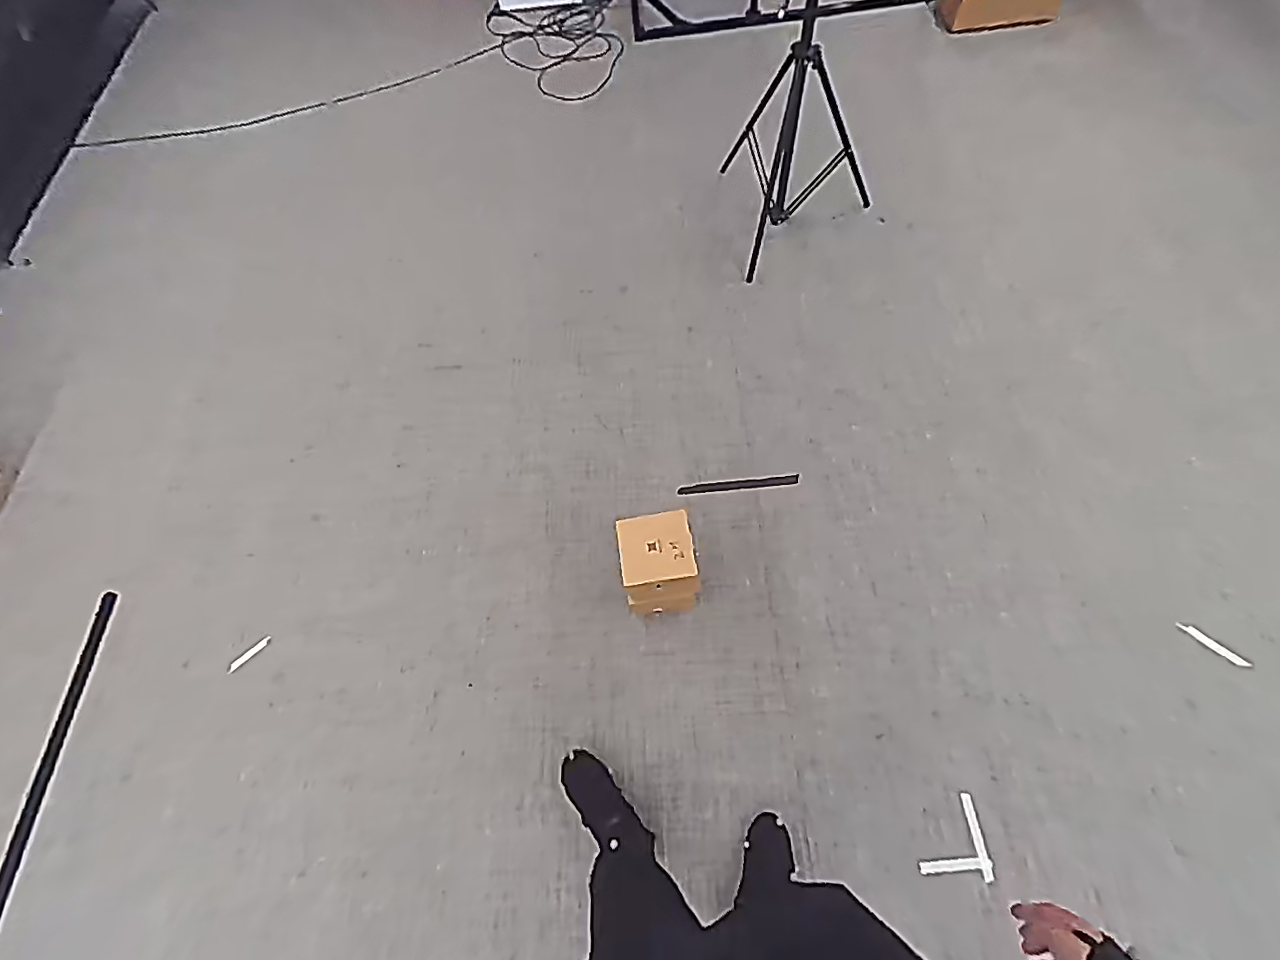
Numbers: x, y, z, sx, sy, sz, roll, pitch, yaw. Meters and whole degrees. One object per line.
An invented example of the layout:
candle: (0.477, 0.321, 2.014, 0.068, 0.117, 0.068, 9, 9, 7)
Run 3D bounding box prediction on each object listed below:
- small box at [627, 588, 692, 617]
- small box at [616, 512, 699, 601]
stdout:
small box: (0.051, 0.267, 1.486, 0.168, 0.176, 0.179, -8, 65, 3)
small box: (0.047, 0.195, 1.337, 0.179, 0.176, 0.168, -9, 65, 3)
